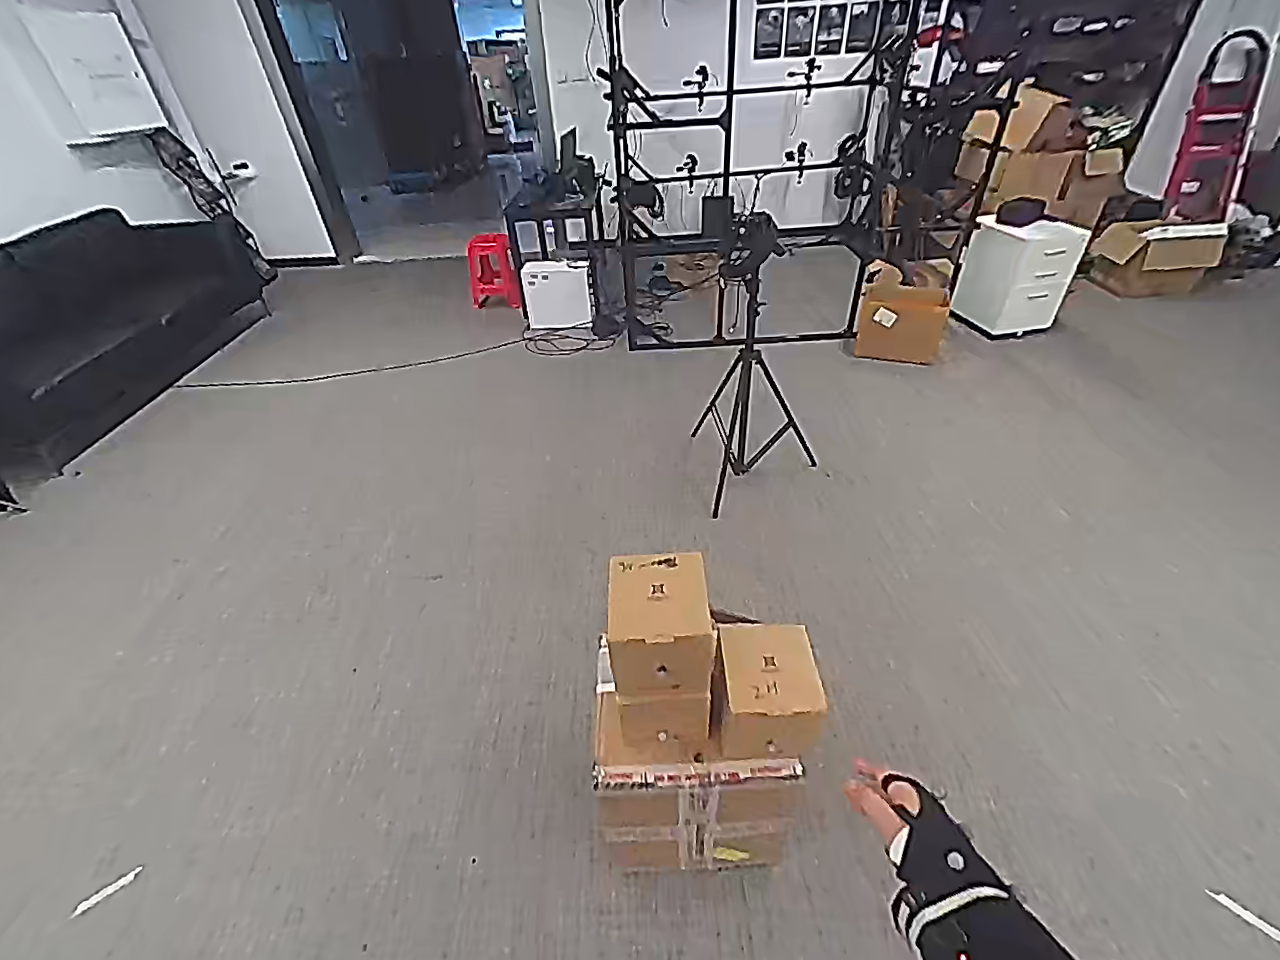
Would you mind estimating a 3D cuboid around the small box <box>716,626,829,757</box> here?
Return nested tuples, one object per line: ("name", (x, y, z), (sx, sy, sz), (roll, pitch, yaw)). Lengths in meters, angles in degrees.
("small box", (0.236, 0.396, 1.017), (0.168, 0.176, 0.179), (-2, 40, 1))

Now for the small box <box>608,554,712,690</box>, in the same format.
("small box", (0.037, 0.253, 0.947), (0.168, 0.176, 0.179), (-4, 42, 2))

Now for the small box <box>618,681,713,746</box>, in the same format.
("small box", (0.044, 0.386, 1.044), (0.168, 0.176, 0.179), (-5, 42, 0))
